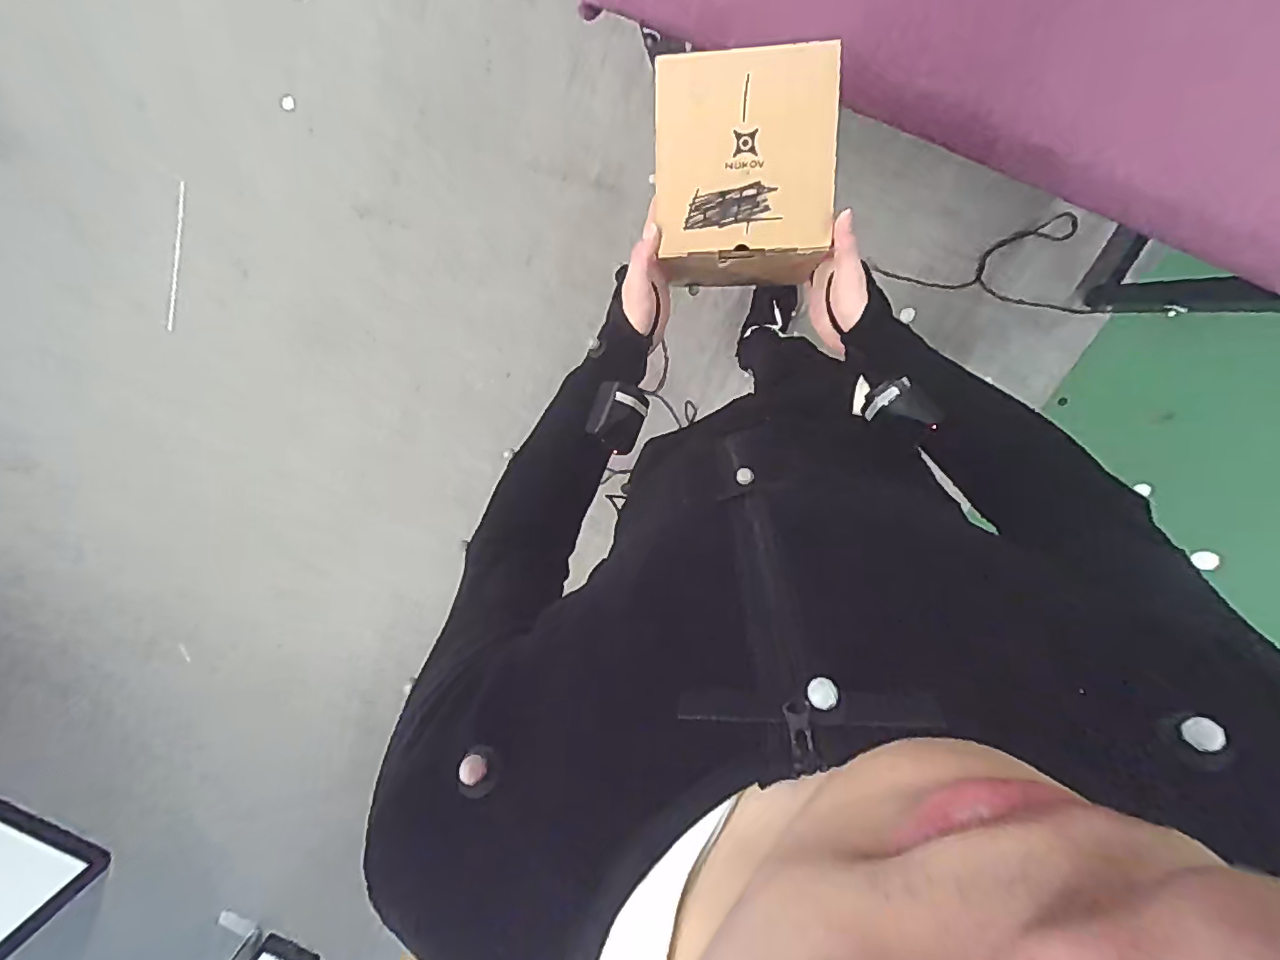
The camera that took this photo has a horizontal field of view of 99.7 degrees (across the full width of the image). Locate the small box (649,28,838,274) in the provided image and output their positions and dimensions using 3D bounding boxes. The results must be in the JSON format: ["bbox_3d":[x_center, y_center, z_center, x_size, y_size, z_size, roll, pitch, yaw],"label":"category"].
[{"bbox_3d":[0.101,-0.320,0.569,0.168,0.176,0.179,1,99,7],"label":"small box"}]
